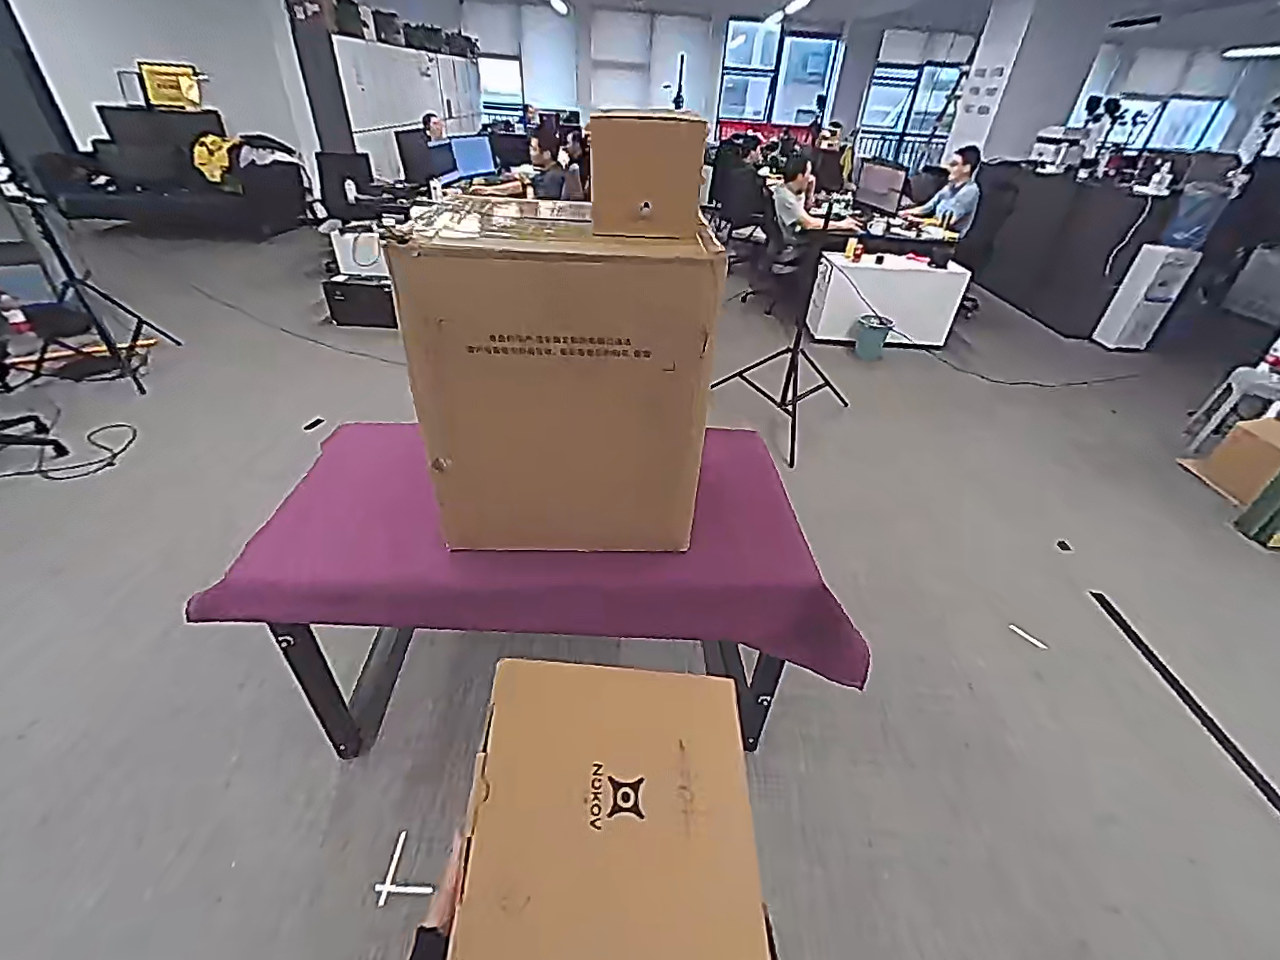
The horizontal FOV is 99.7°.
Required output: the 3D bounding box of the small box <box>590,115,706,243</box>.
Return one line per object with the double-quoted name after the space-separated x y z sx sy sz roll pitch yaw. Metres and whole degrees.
0.007 -0.510 0.921 0.179 0.176 0.168 1 36 -3 "small box"
